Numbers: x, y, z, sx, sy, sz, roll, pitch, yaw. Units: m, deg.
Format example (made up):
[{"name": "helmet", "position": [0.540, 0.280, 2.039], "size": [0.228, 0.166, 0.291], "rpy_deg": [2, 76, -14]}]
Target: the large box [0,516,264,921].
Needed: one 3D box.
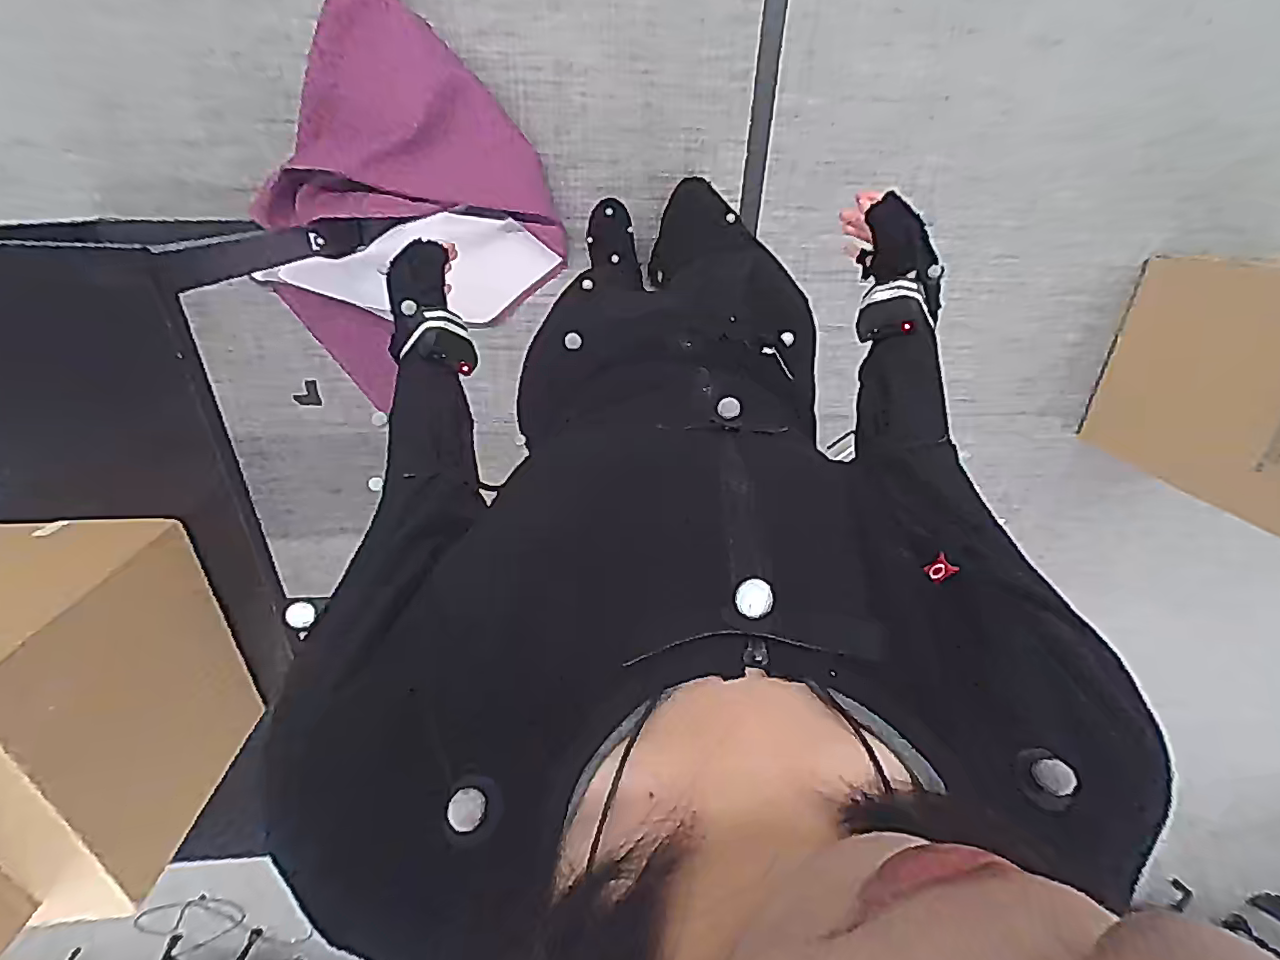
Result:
[{"name": "large box", "position": [-0.791, 0.298, 0.710], "size": [0.320, 0.320, 0.408], "rpy_deg": [-3, 117, -5]}]
